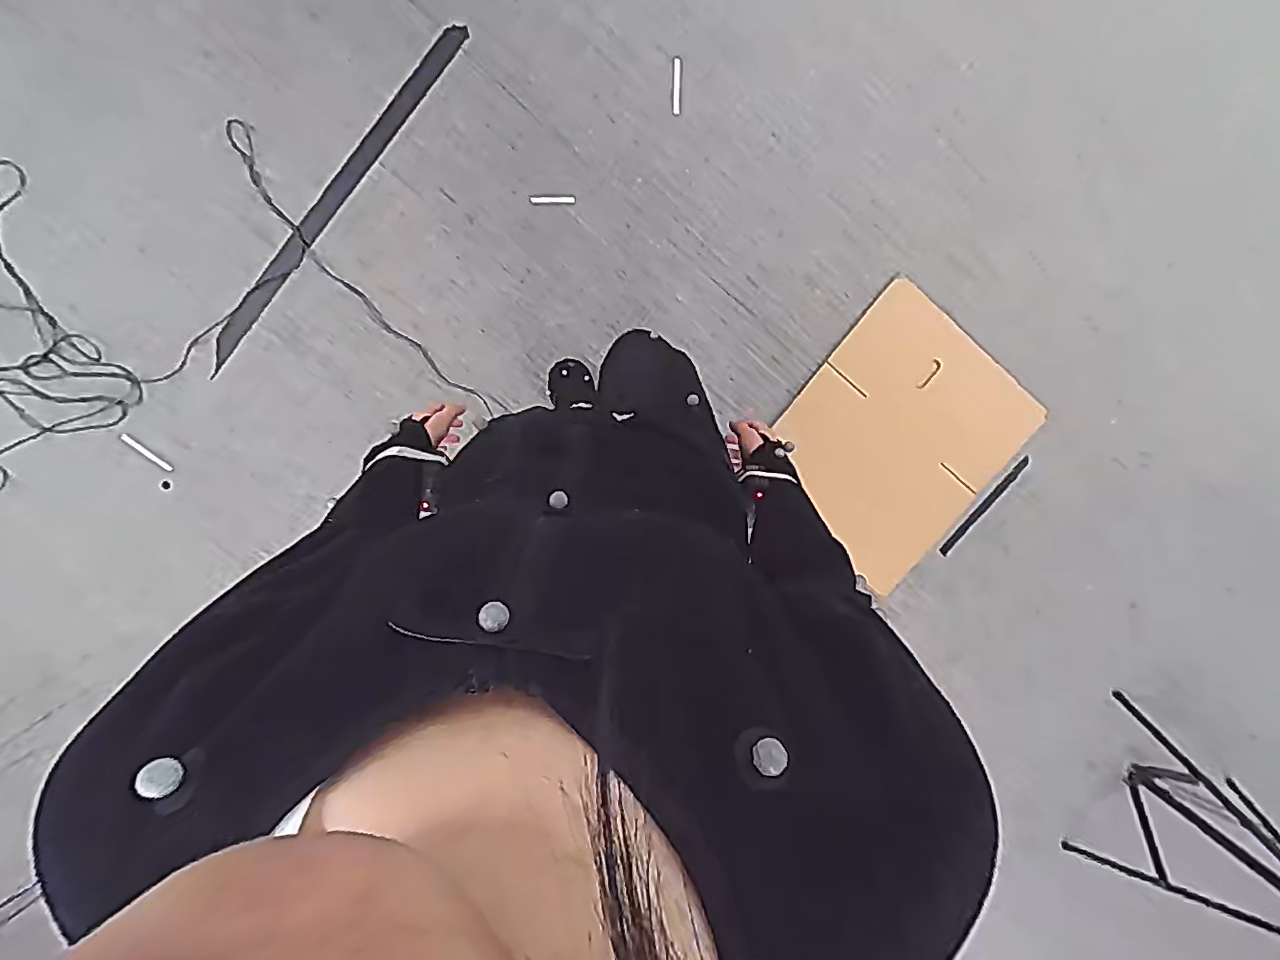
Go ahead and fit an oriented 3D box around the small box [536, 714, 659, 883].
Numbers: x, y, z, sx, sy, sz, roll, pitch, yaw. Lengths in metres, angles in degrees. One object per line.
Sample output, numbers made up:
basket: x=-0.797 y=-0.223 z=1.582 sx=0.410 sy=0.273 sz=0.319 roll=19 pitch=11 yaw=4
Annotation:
small box: x=-0.064 y=0.493 z=0.856 sx=0.179 sy=0.176 sz=0.168 roll=0 pitch=102 yaw=-3
